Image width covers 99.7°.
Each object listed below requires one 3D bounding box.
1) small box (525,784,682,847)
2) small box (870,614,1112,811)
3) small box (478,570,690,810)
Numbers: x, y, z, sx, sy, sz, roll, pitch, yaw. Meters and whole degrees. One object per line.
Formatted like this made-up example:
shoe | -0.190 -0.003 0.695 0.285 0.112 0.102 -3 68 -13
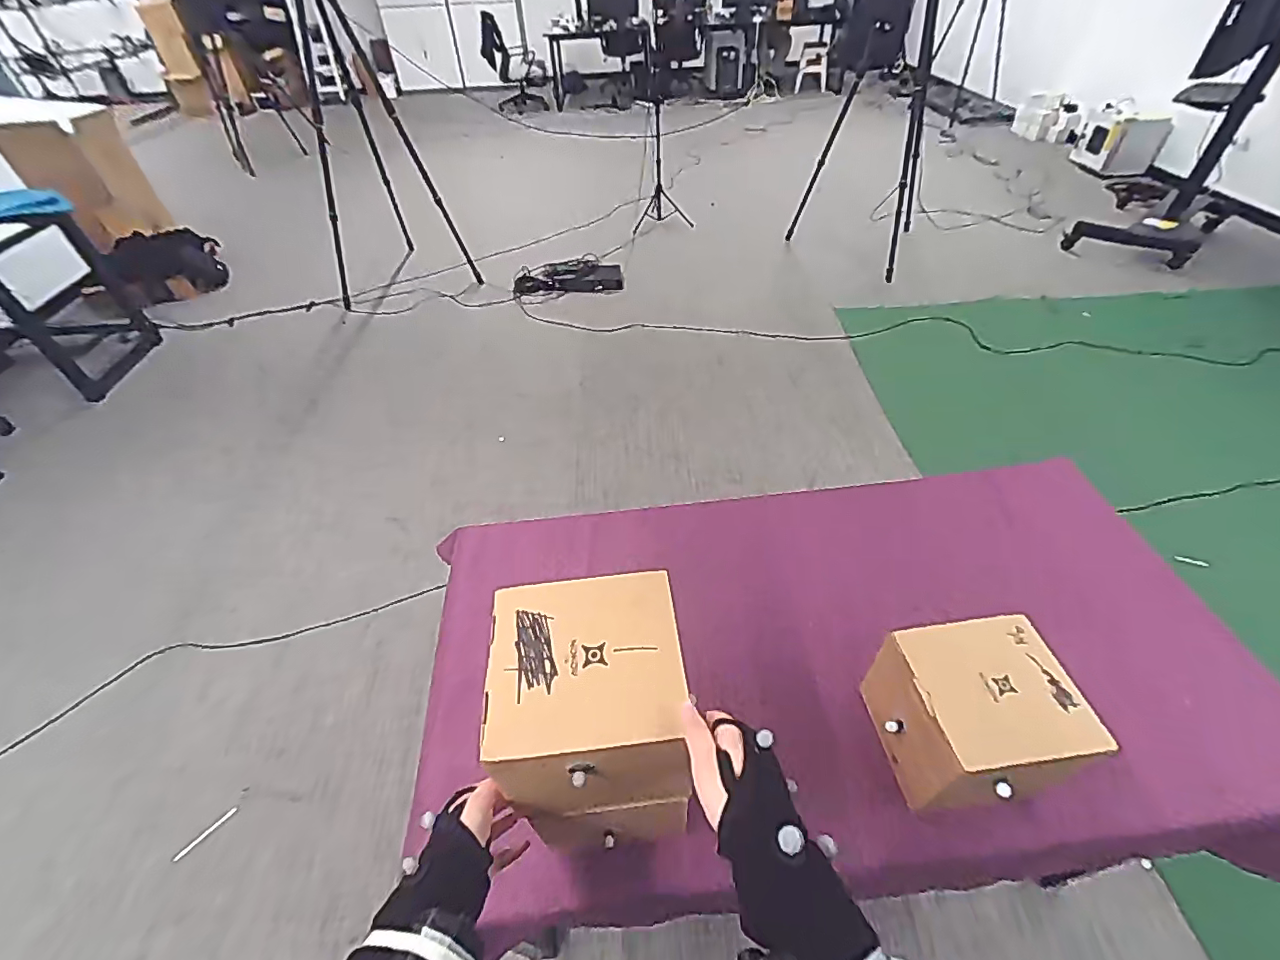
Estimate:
small box | -0.039 0.330 0.662 0.168 0.176 0.179 -5 45 -2
small box | 0.407 0.291 0.673 0.179 0.176 0.168 -7 45 -2
small box | -0.047 0.214 0.545 0.179 0.176 0.168 -6 45 -3
